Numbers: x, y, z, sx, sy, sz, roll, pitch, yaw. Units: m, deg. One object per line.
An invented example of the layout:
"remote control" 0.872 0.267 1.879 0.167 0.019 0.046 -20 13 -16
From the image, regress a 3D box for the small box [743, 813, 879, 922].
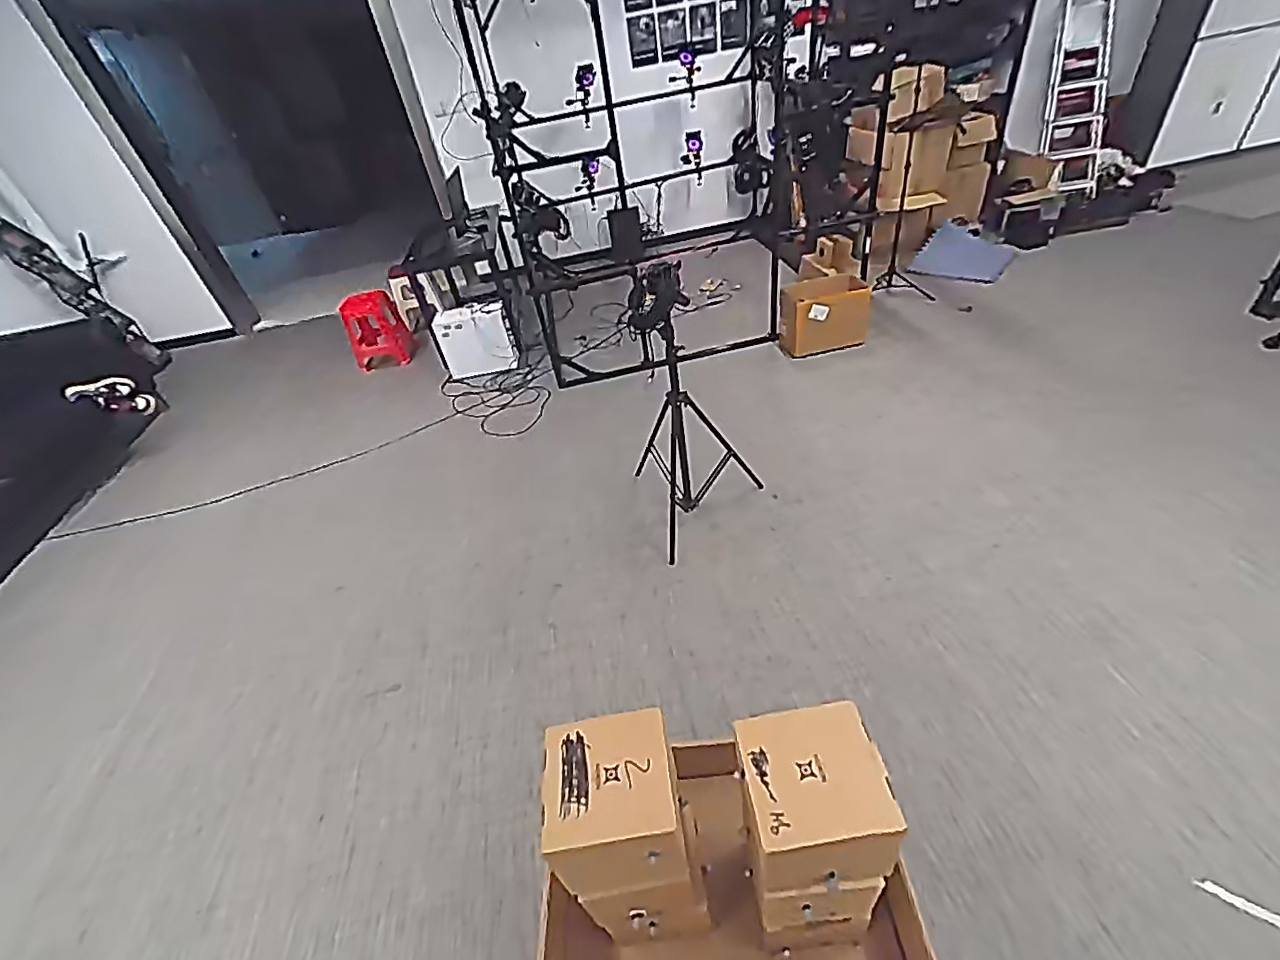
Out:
"small box" 0.255 0.568 0.851 0.168 0.176 0.179 -8 38 3

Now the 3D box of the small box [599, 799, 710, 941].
"small box" 0.025 0.712 0.985 0.179 0.176 0.168 -9 39 1

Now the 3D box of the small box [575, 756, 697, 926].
"small box" -0.008 0.588 0.883 0.168 0.176 0.179 -12 39 1

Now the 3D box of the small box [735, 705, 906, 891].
"small box" 0.234 0.441 0.750 0.179 0.176 0.168 -9 38 1
